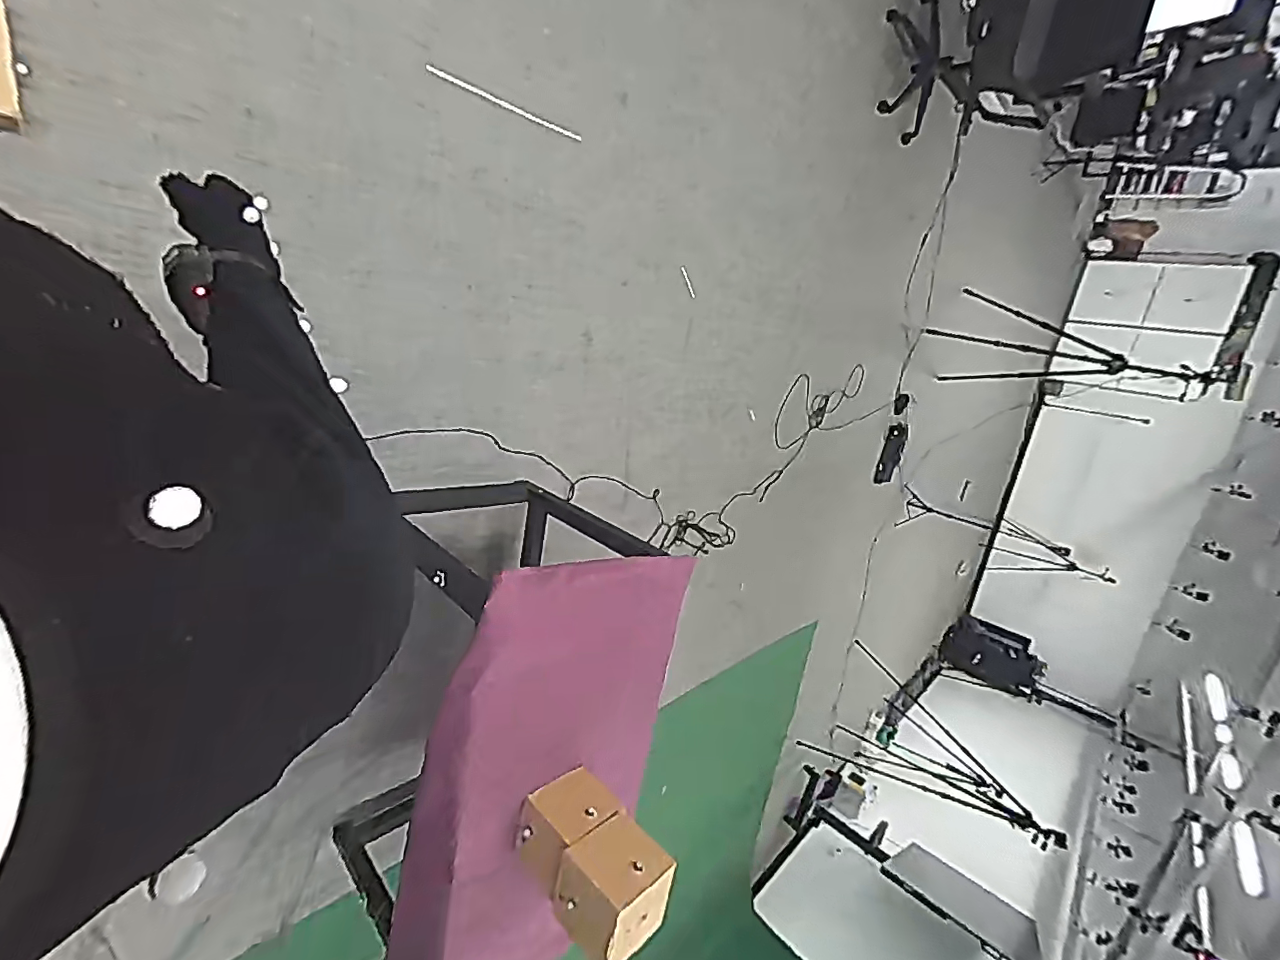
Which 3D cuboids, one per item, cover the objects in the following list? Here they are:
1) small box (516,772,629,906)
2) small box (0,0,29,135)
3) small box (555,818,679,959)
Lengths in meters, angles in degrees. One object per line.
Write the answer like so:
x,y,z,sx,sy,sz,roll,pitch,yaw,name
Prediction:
-0.156,0.817,1.248,0.179,0.176,0.168,1,105,-47,small box
-1.024,-0.630,0.785,0.168,0.176,0.179,-8,111,-46,small box
-0.049,0.858,1.129,0.179,0.176,0.168,-1,106,-47,small box
